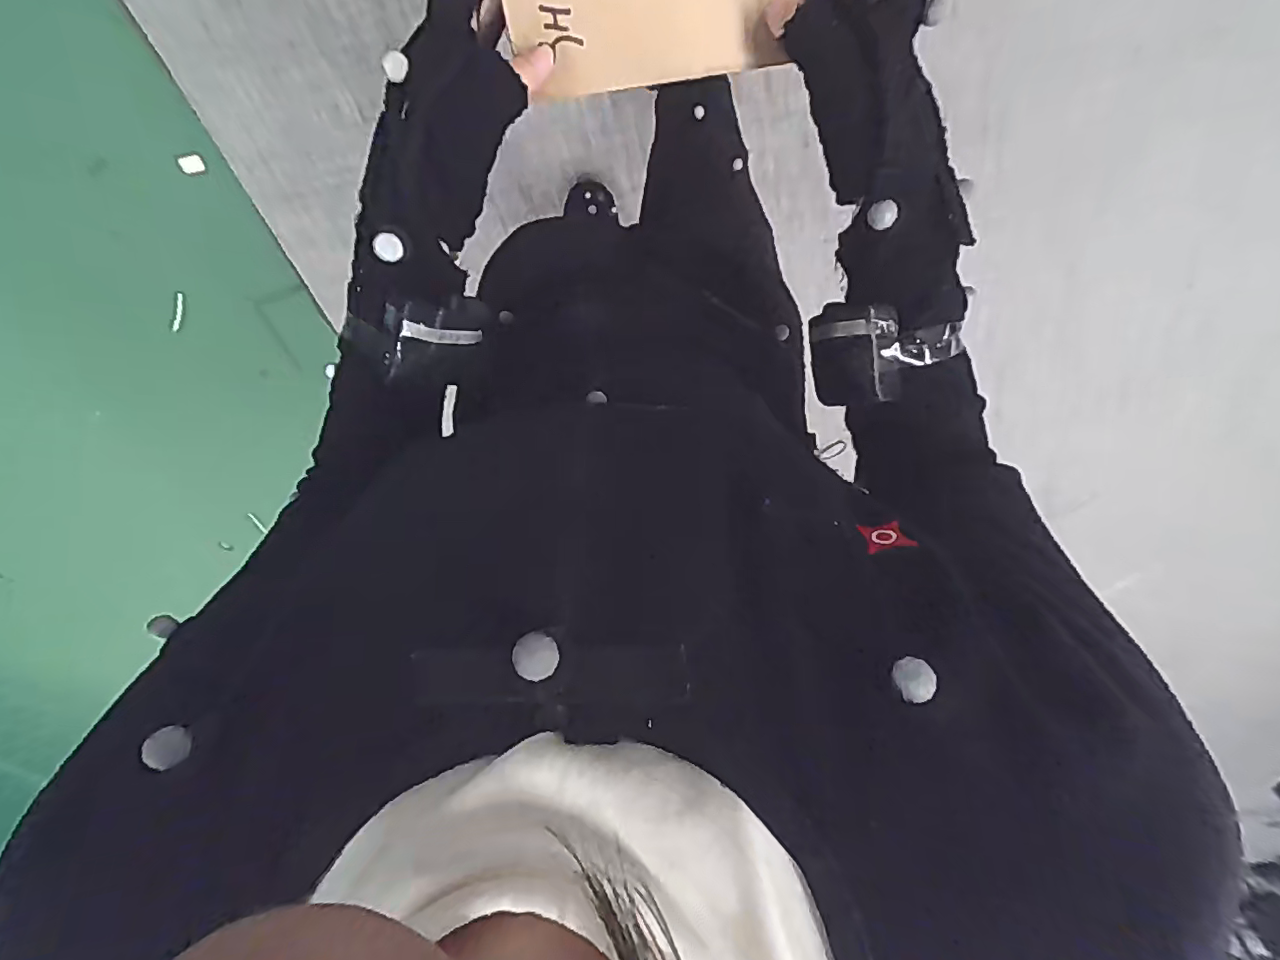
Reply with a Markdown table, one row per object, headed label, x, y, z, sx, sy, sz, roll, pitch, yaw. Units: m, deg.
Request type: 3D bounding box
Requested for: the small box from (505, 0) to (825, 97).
| label | x | y | z | sx | sy | sz | roll | pitch | yaw |
| --- | --- | --- | --- | --- | --- | --- | --- | --- | --- |
| small box | 0.001 | -0.345 | 0.315 | 0.179 | 0.176 | 0.168 | -9 | 132 | 0 |
